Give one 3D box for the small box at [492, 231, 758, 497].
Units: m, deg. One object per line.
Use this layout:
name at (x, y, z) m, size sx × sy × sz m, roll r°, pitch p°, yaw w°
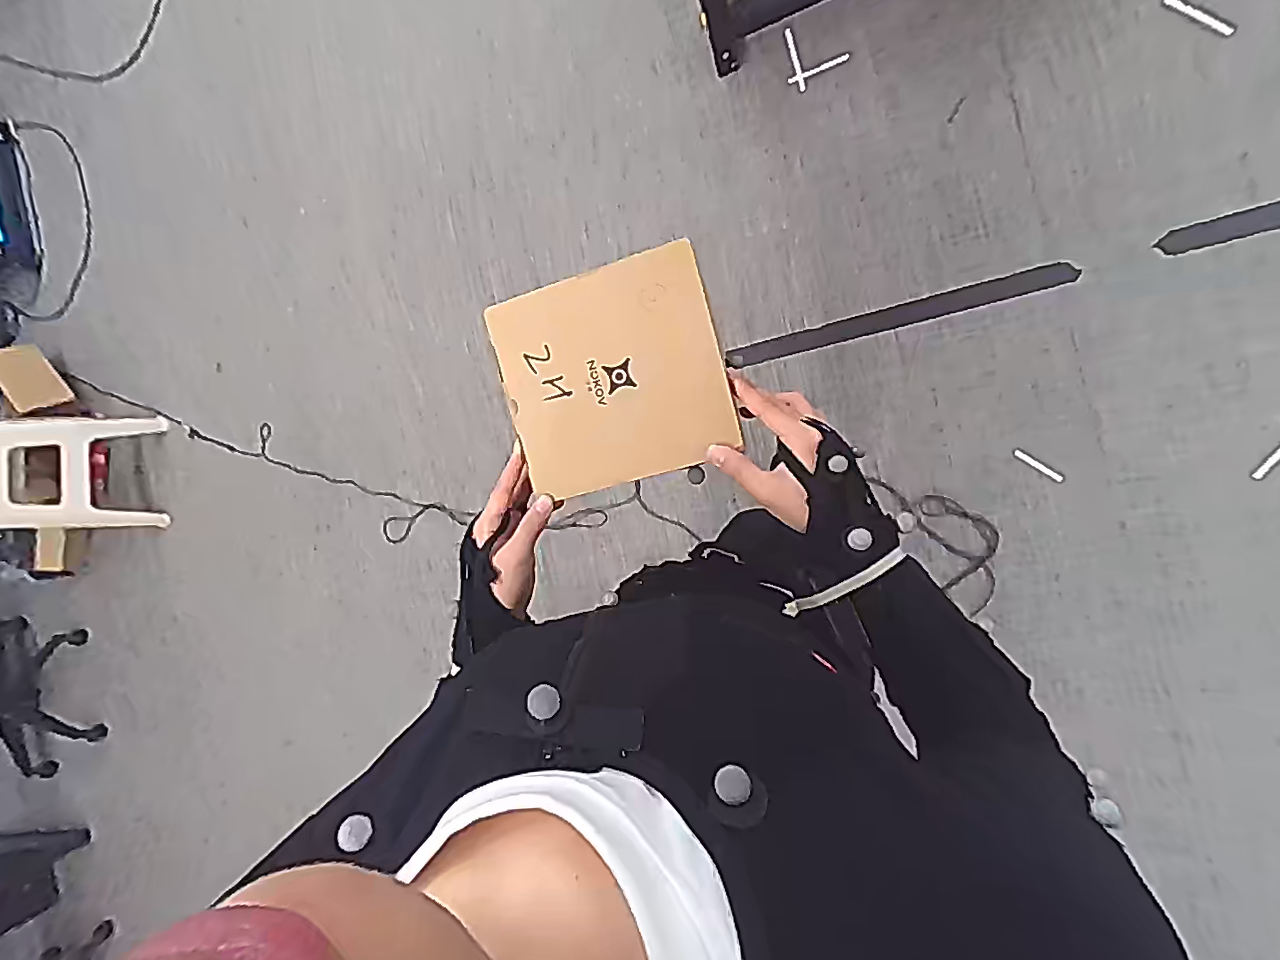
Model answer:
small box at (-0.001, -0.092, 0.486) m, size 0.179 × 0.176 × 0.168 m, roll -14°, pitch 93°, yaw 12°
